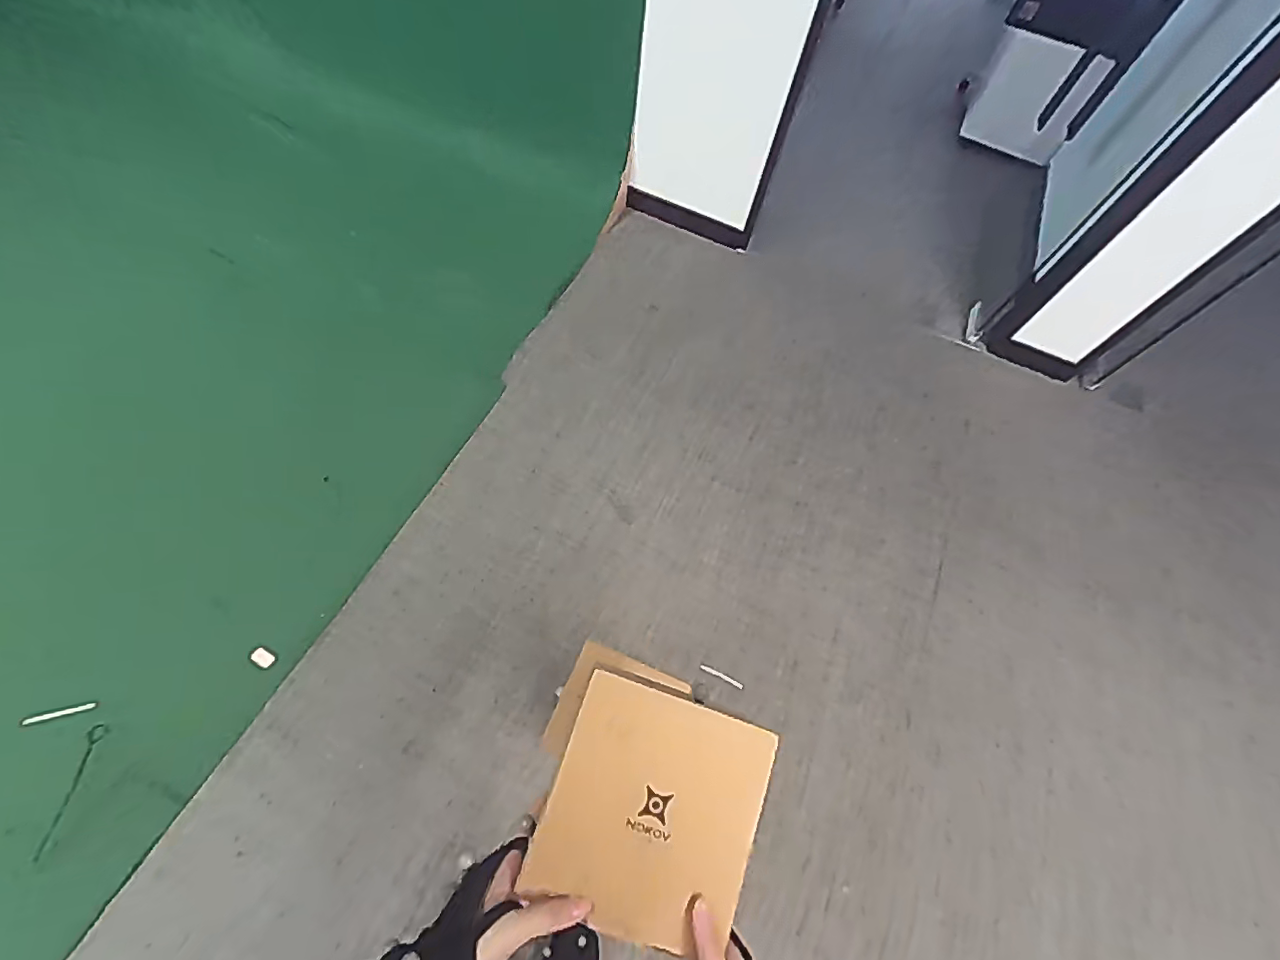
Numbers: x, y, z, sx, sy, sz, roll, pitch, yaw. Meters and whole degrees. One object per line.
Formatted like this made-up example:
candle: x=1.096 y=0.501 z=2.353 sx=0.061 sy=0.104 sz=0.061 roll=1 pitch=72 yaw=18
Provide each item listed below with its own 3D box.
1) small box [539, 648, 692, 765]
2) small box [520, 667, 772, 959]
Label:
small box: x=-0.039 y=0.387 z=0.849 sx=0.179 sy=0.176 sz=0.168 roll=23 pitch=63 yaw=6
small box: x=0.003 y=0.290 z=0.514 sx=0.168 sy=0.176 sz=0.179 roll=20 pitch=74 yaw=2
